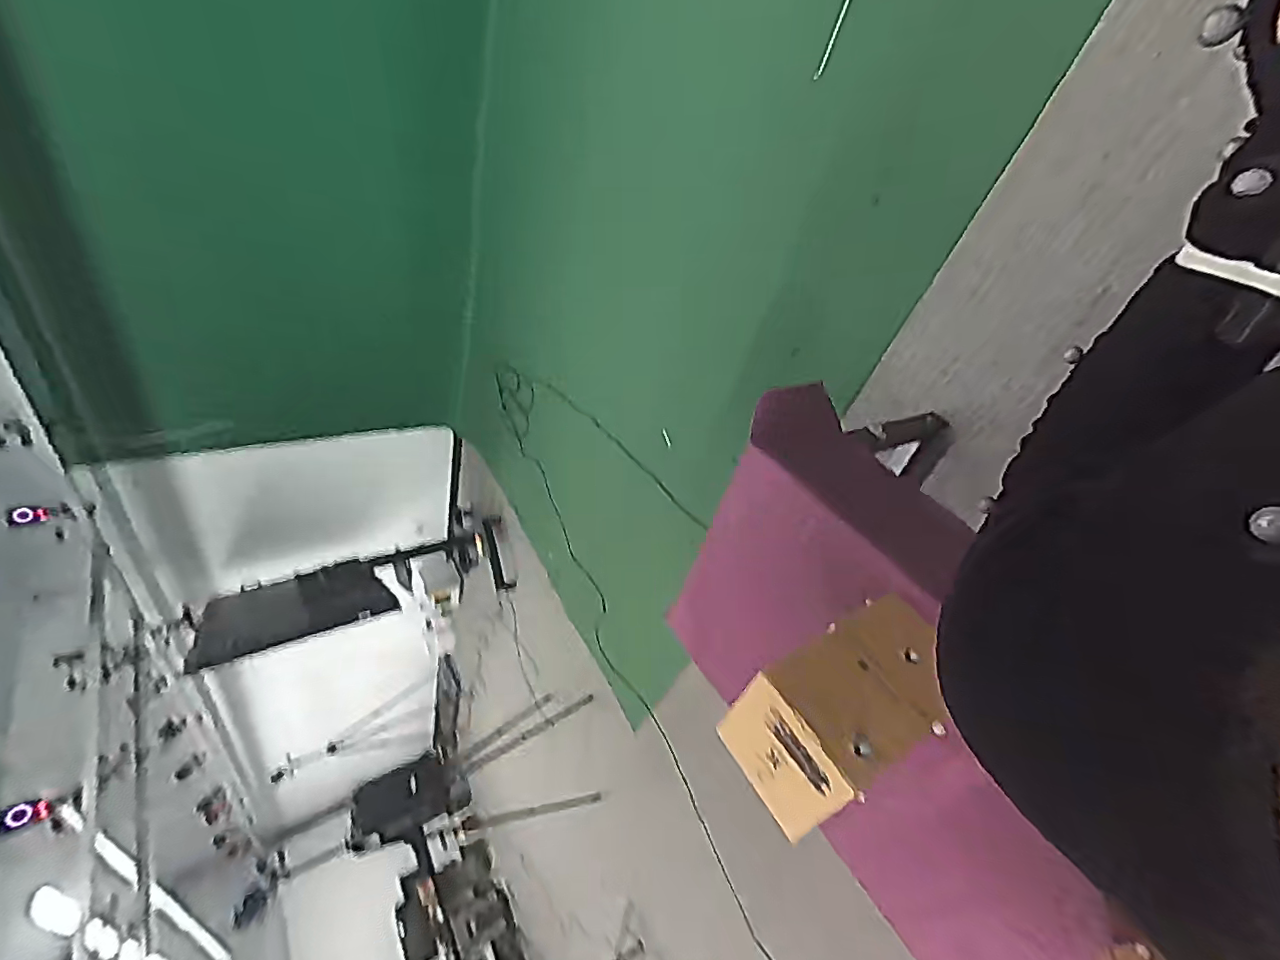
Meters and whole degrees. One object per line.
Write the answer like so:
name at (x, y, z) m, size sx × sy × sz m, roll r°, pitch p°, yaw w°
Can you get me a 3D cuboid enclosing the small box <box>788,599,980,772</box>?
small box at (0.376, 0.307, 0.845) m, size 0.179 × 0.176 × 0.168 m, roll 50°, pitch 138°, yaw 32°
